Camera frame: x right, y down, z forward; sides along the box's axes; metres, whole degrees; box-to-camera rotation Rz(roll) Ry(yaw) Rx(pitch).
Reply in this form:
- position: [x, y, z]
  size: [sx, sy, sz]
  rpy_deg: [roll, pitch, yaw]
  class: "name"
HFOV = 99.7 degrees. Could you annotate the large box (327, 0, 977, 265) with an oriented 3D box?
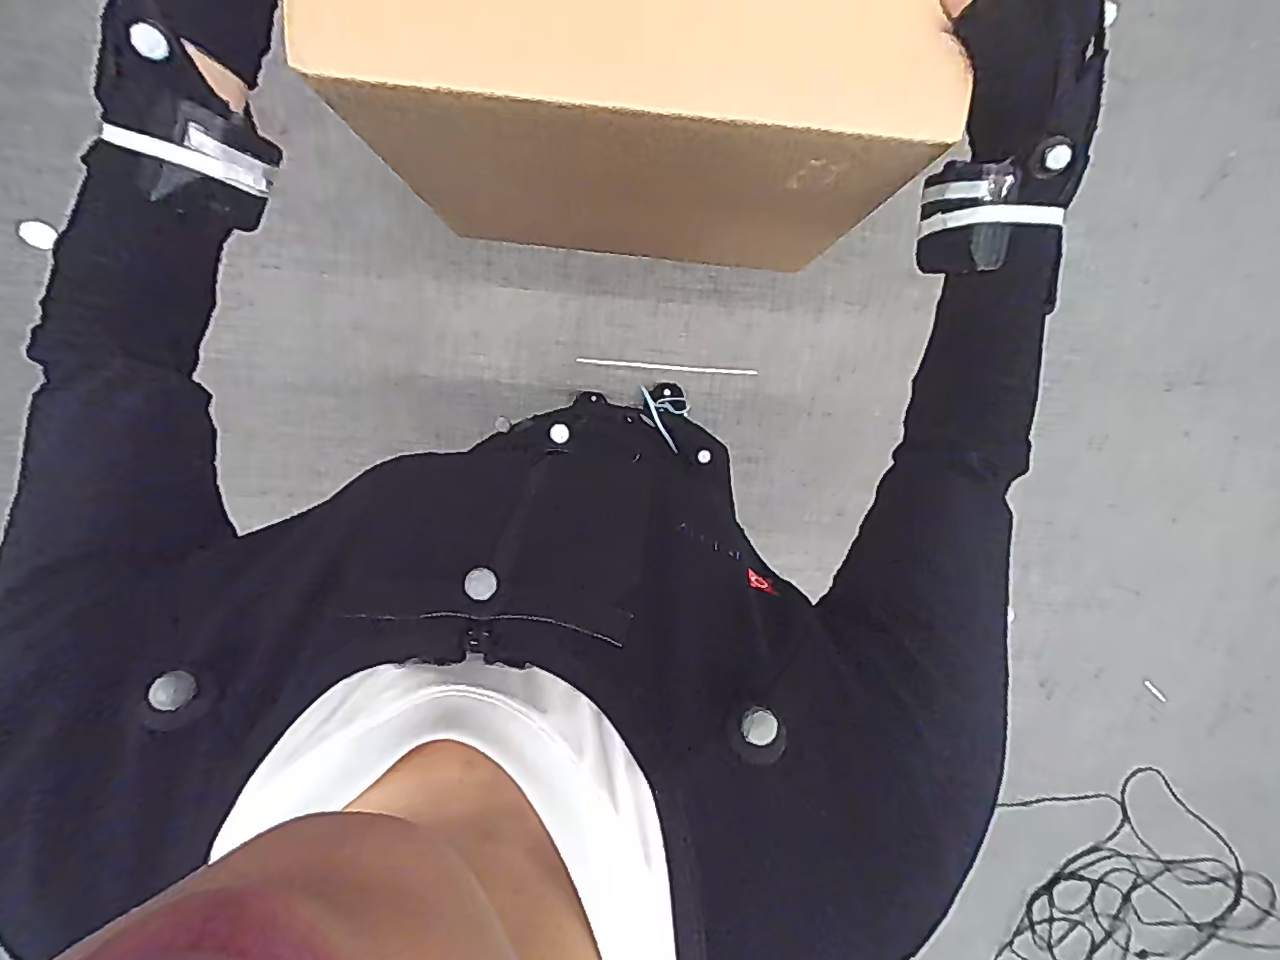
- position: [0.011, -0.398, 0.467]
  size: [0.408, 0.320, 0.320]
  rpy_deg: [4, 98, -3]
  class: "large box"
